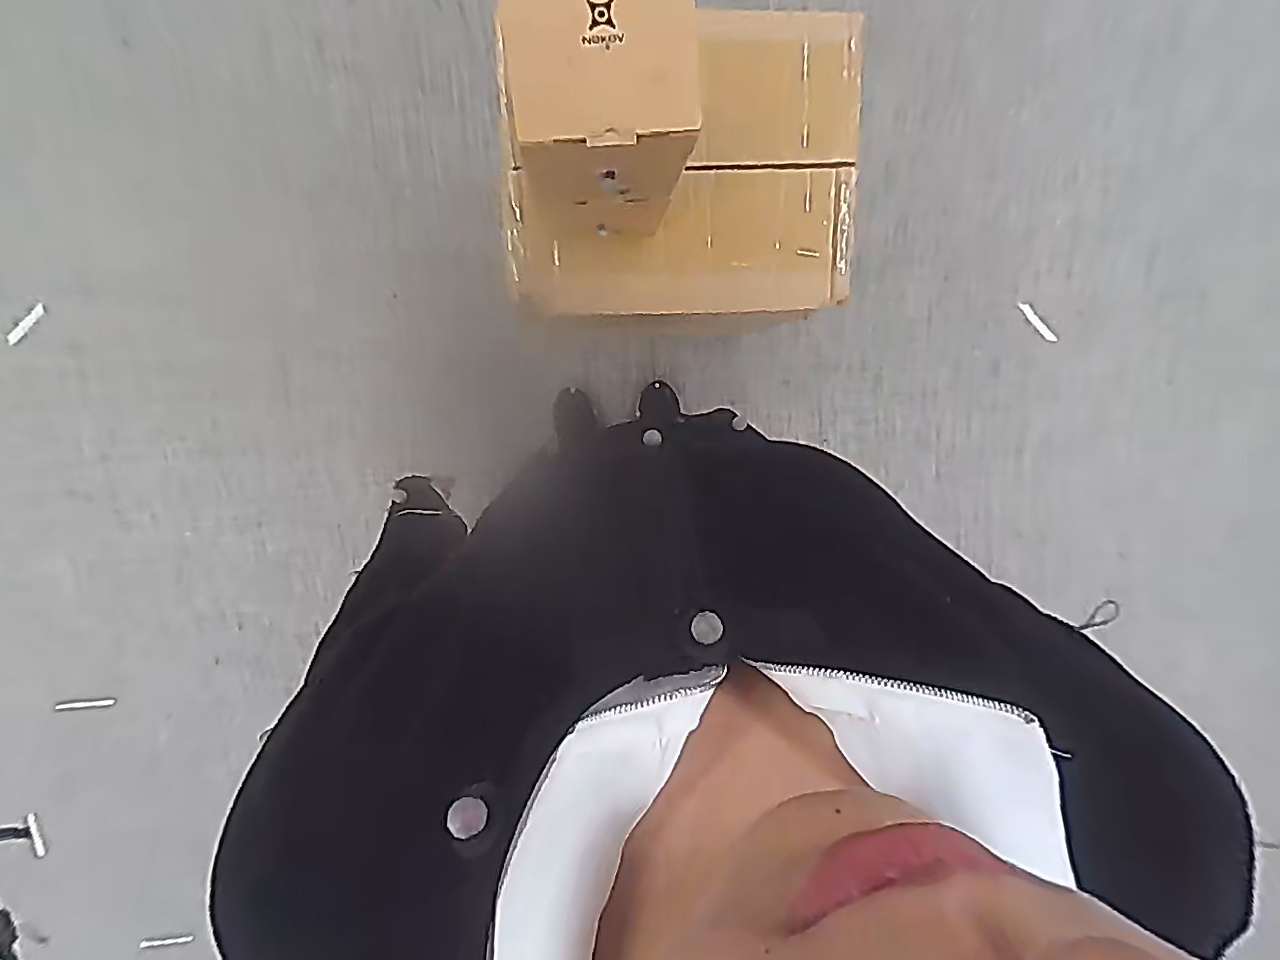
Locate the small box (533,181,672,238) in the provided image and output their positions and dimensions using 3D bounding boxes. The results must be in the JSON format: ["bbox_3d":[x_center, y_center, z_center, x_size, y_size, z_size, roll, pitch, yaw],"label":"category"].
[{"bbox_3d":[-0.055,-0.430,0.700,0.168,0.176,0.179,-5,101,-4],"label":"small box"}]

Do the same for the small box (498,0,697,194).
[{"bbox_3d":[-0.042,-0.401,0.539,0.168,0.176,0.179,-6,102,-4],"label":"small box"}]
